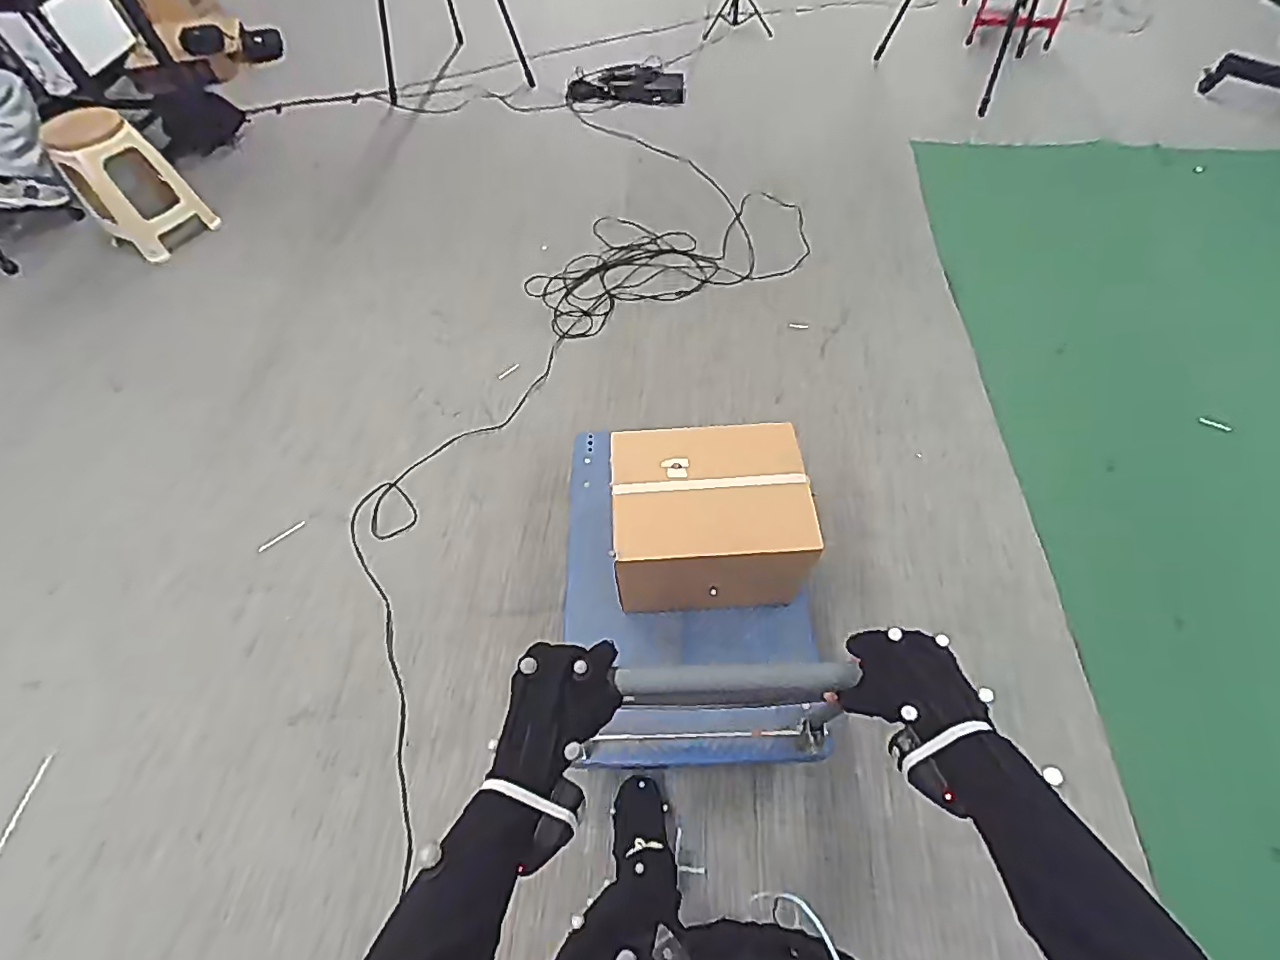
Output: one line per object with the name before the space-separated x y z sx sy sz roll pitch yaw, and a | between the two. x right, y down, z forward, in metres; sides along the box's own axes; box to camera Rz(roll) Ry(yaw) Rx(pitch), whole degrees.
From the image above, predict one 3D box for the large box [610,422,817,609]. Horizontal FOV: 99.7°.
large box | 0.149 0.094 1.255 0.408 0.320 0.320 -4 57 1
